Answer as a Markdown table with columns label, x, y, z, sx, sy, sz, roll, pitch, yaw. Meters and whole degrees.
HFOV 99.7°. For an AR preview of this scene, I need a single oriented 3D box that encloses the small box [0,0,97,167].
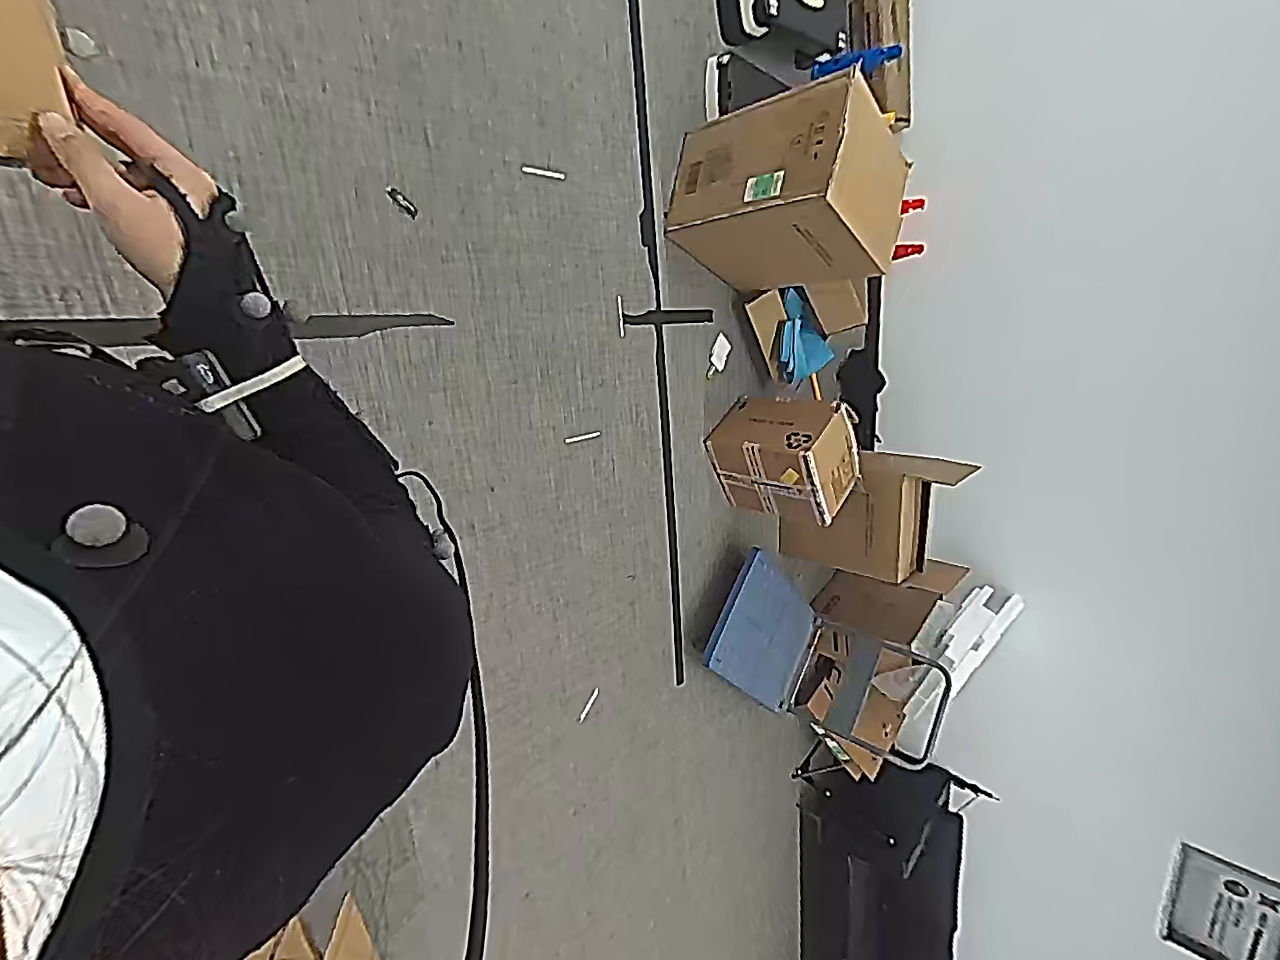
| label | x | y | z | sx | sy | sz | roll | pitch | yaw |
| --- | --- | --- | --- | --- | --- | --- | --- | --- | --- |
| small box | -0.425 | -0.265 | 0.277 | 0.179 | 0.176 | 0.168 | -16 | 122 | -37 |
